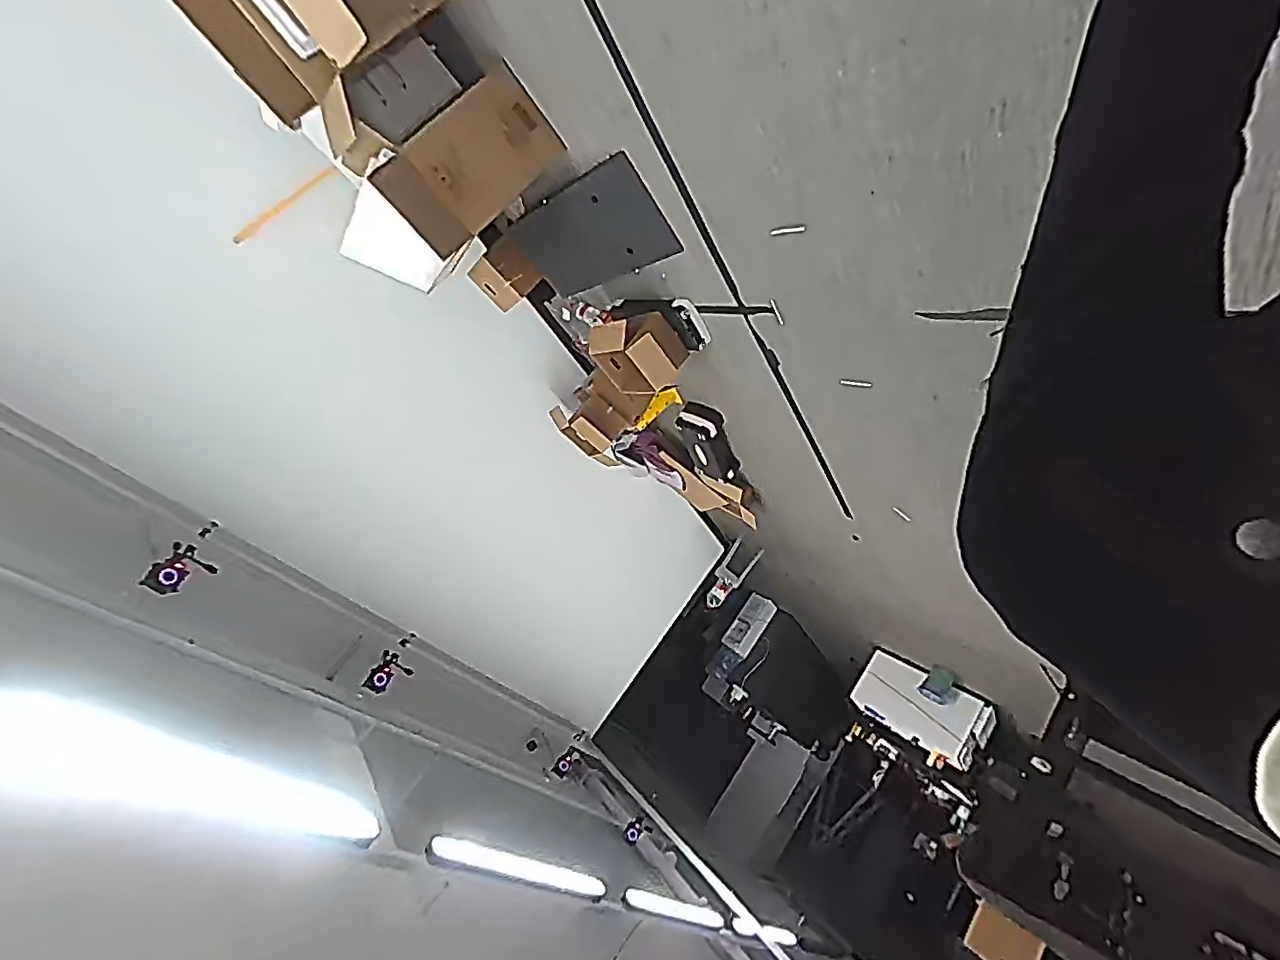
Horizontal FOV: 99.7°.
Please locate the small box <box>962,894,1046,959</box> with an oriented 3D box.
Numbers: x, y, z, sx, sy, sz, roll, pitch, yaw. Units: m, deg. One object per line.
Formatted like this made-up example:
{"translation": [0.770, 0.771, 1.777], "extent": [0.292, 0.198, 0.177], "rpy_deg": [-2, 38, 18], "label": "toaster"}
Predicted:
{"translation": [1.112, 1.411, 1.651], "extent": [0.168, 0.176, 0.179], "rpy_deg": [22, 160, 45], "label": "small box"}
